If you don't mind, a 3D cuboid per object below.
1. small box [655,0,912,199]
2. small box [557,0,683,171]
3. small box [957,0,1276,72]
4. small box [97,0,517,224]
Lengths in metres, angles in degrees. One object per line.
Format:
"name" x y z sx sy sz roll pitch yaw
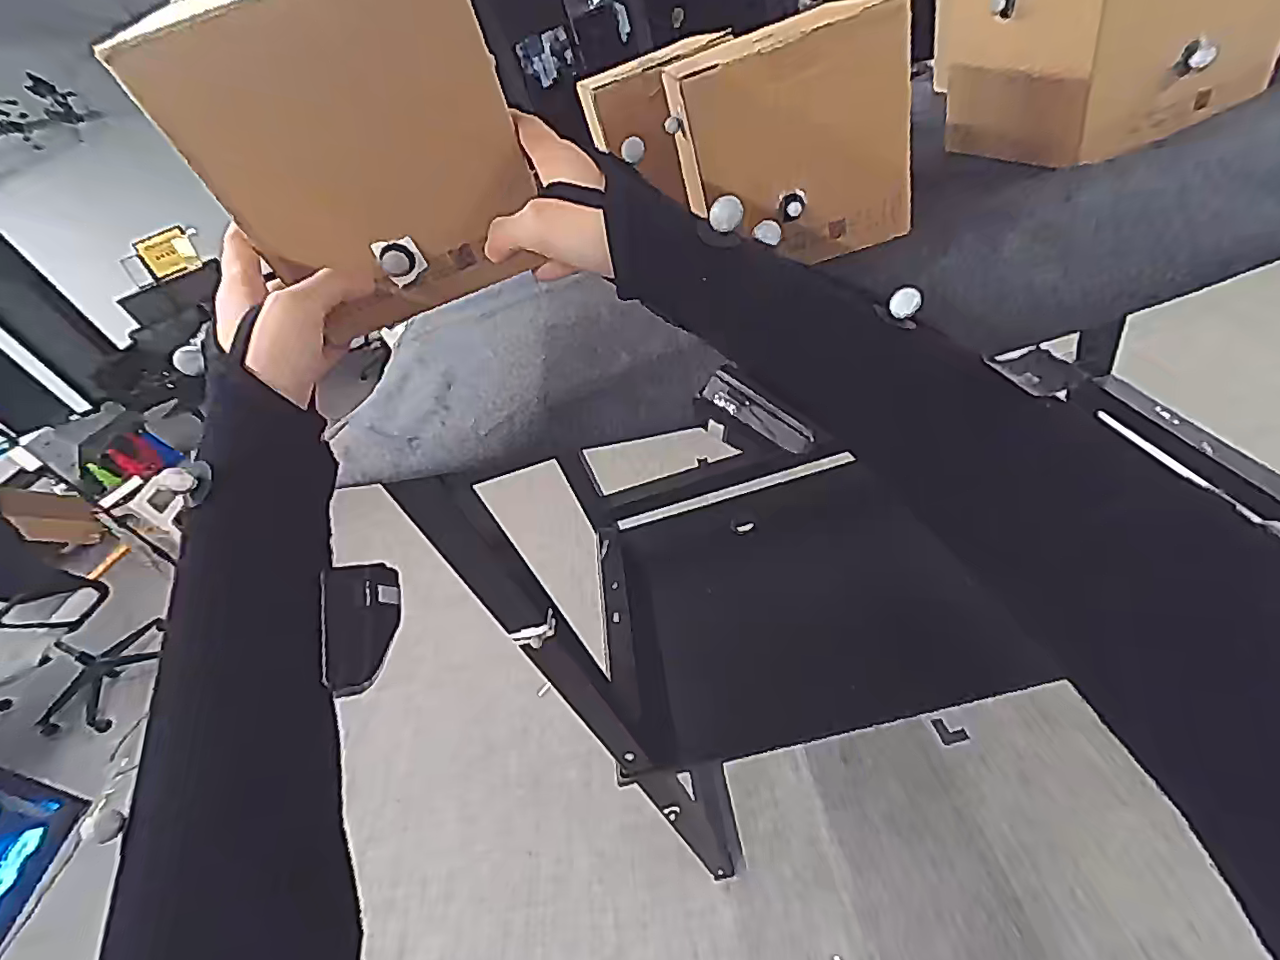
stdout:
"small box" 0.109 -0.360 0.454 0.168 0.176 0.179 -15 40 8
"small box" 0.012 -0.495 0.647 0.168 0.176 0.179 -19 39 3
"small box" 0.381 -0.450 0.427 0.168 0.176 0.179 -21 39 2
"small box" -0.190 -0.280 0.312 0.168 0.176 0.179 -25 51 -4
